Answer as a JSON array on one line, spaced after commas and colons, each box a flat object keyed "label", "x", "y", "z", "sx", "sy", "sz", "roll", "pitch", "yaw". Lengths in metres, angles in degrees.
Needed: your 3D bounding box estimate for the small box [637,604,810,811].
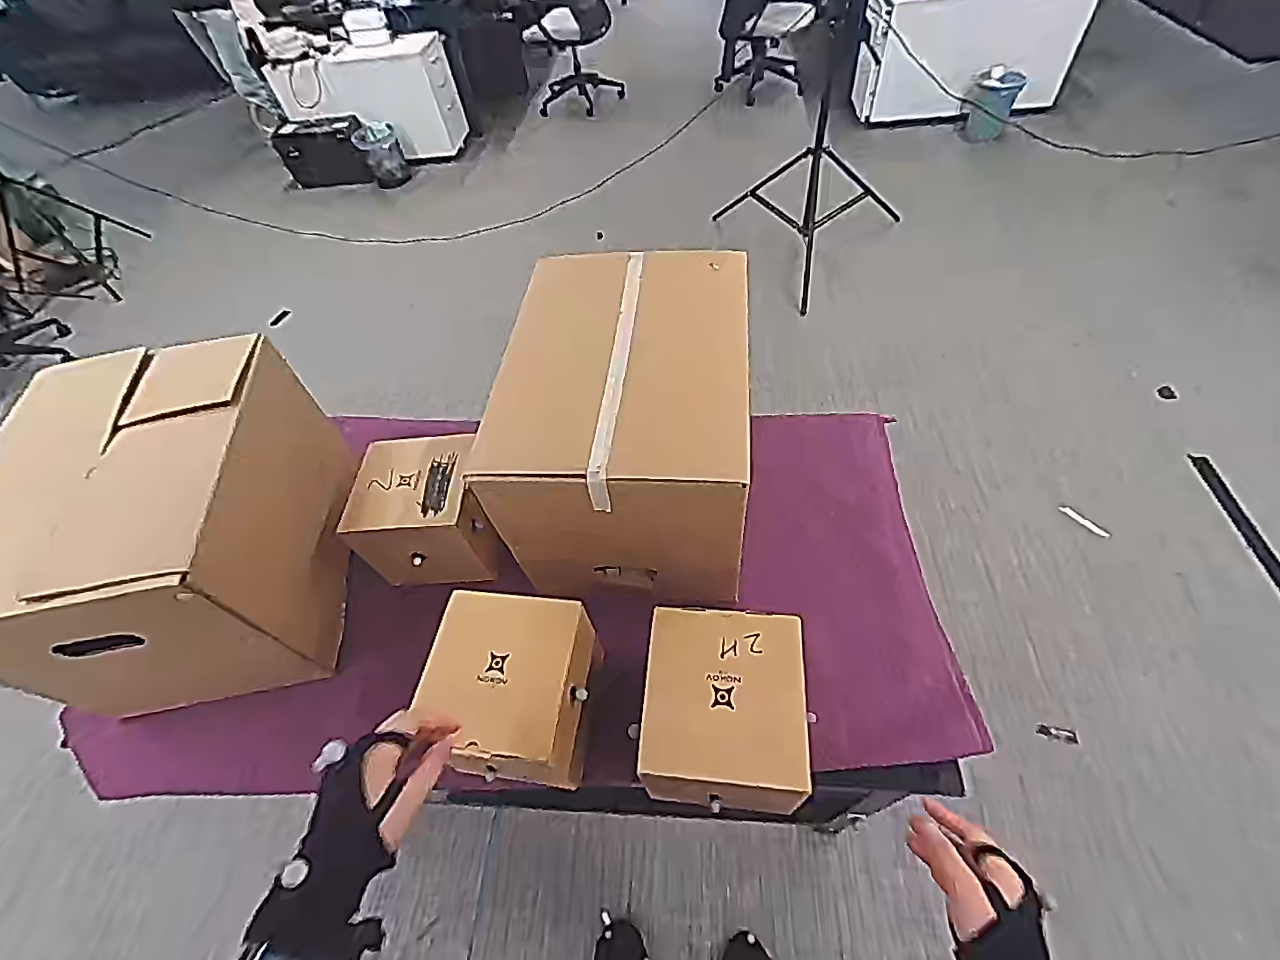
[{"label": "small box", "x": 0.096, "y": 0.262, "z": 0.616, "sx": 0.168, "sy": 0.176, "sz": 0.179, "roll": 2, "pitch": 52, "yaw": 8}]
